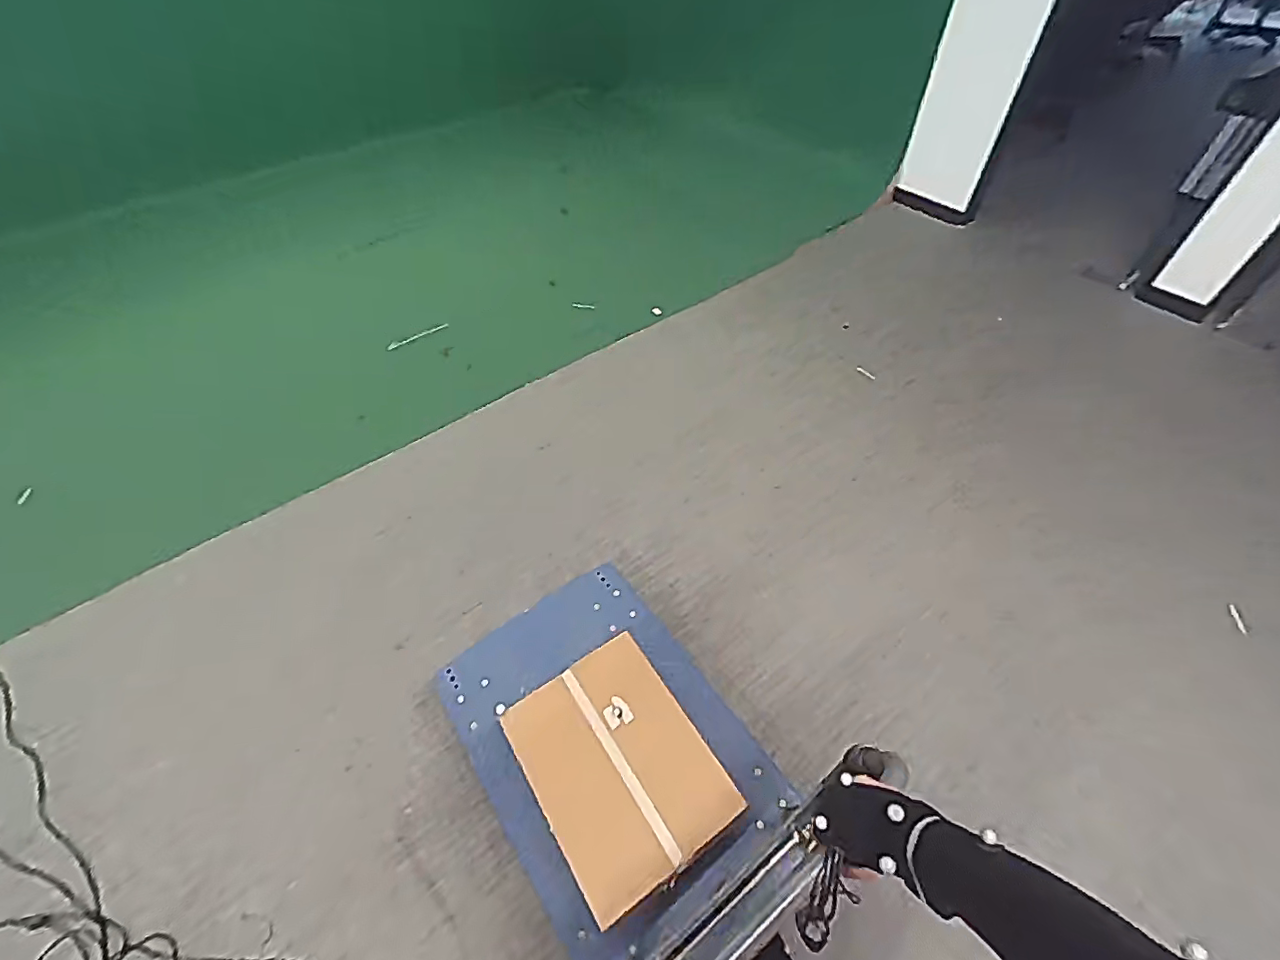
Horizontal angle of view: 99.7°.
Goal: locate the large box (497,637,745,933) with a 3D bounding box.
[{"bbox_3d":[-0.039,0.620,1.124,0.320,0.320,0.408,-29,55,-20],"label":"large box"}]
